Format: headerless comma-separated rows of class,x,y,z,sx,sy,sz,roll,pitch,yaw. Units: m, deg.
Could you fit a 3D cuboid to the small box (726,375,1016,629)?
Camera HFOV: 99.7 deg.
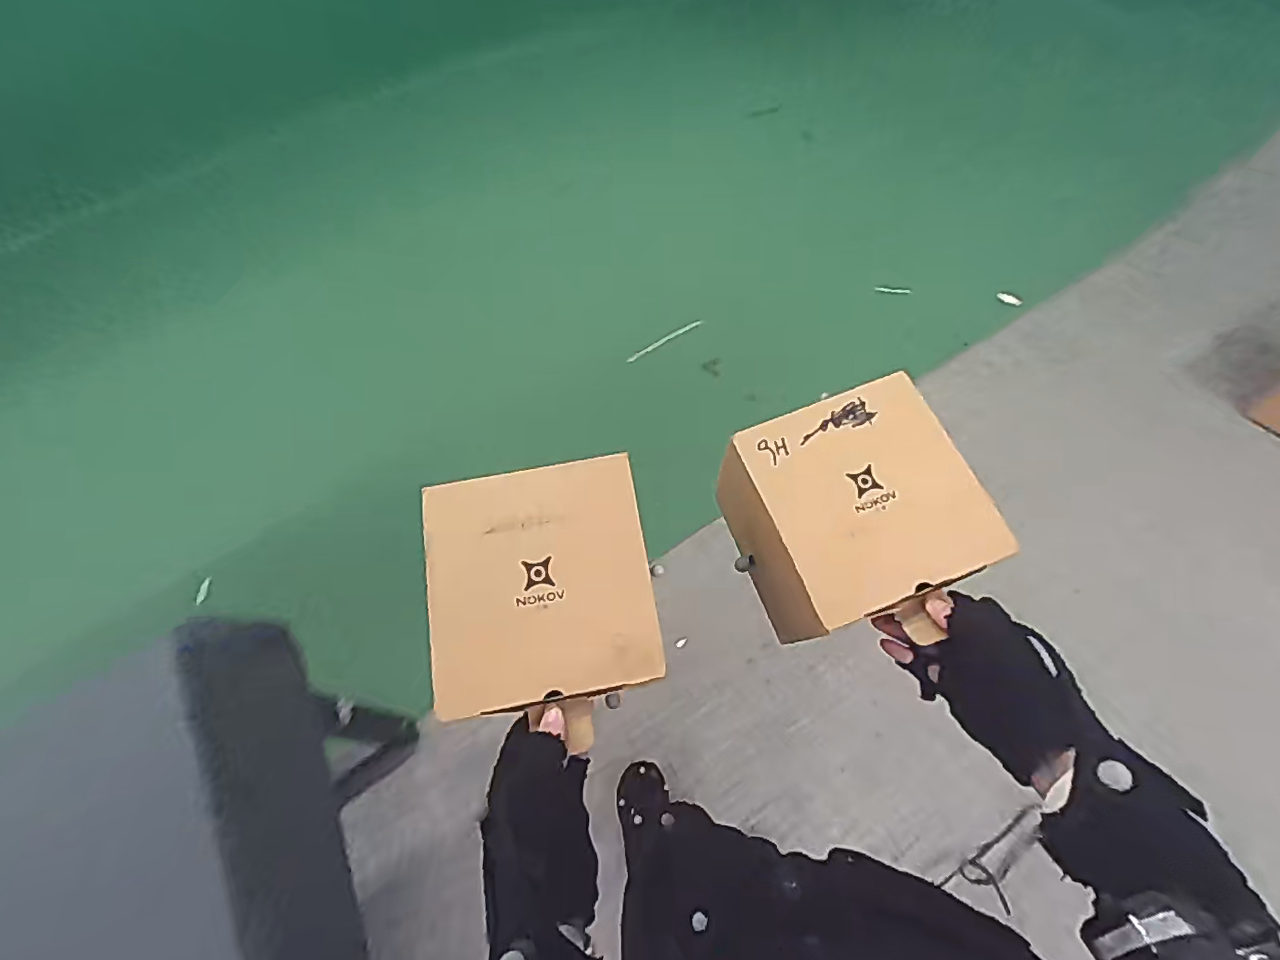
small box,0.195,0.034,0.517,0.168,0.176,0.179,-19,72,-5
